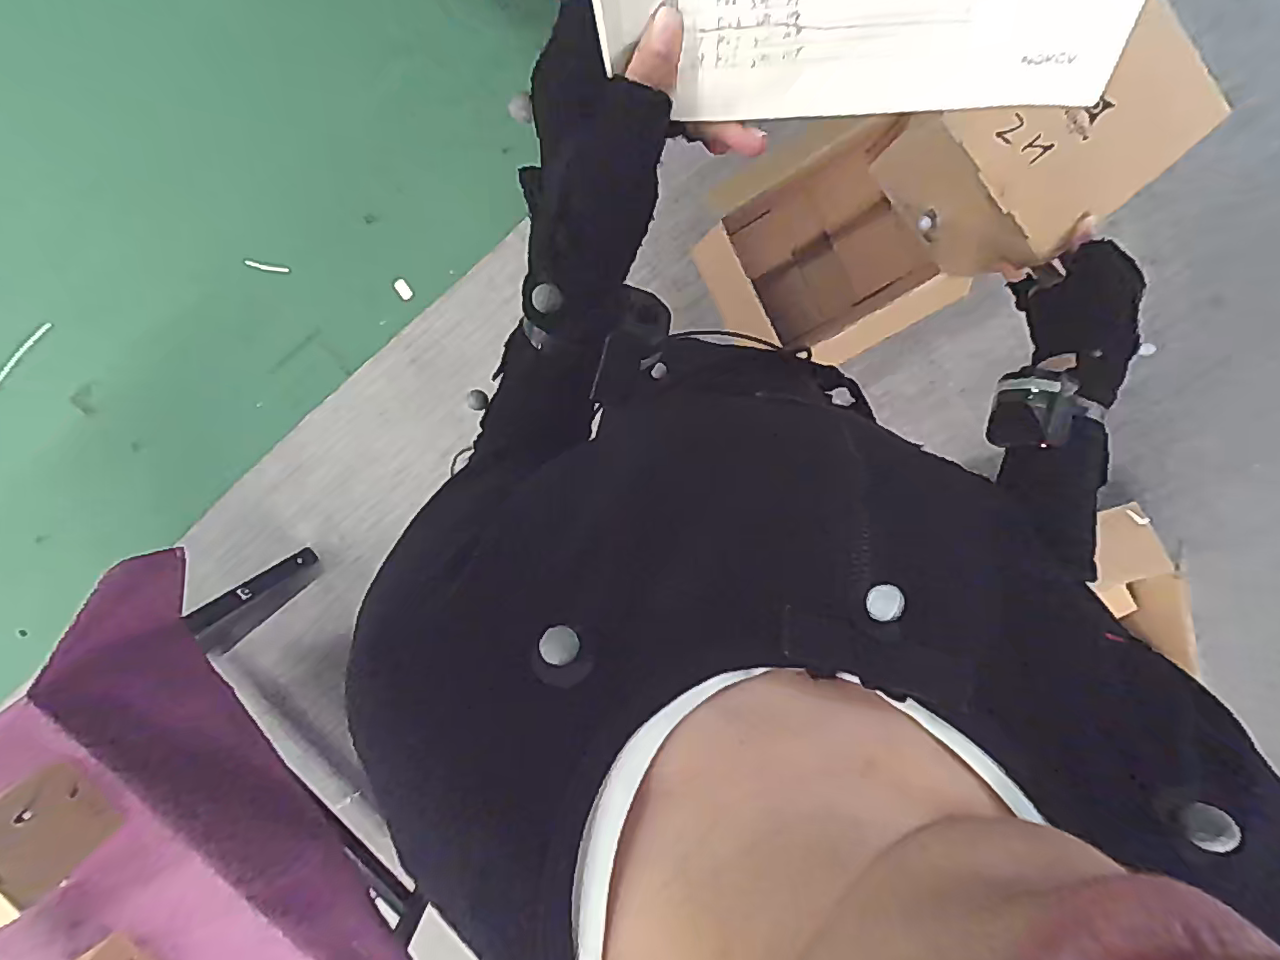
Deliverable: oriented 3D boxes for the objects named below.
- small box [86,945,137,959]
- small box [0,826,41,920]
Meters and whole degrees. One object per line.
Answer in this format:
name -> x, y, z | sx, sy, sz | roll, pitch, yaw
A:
small box -> -1.023, 1.005, 0.982 | 0.179, 0.176, 0.168 | -36, 99, 12
small box -> -1.207, 0.725, 0.922 | 0.179, 0.176, 0.168 | -29, 100, 10
